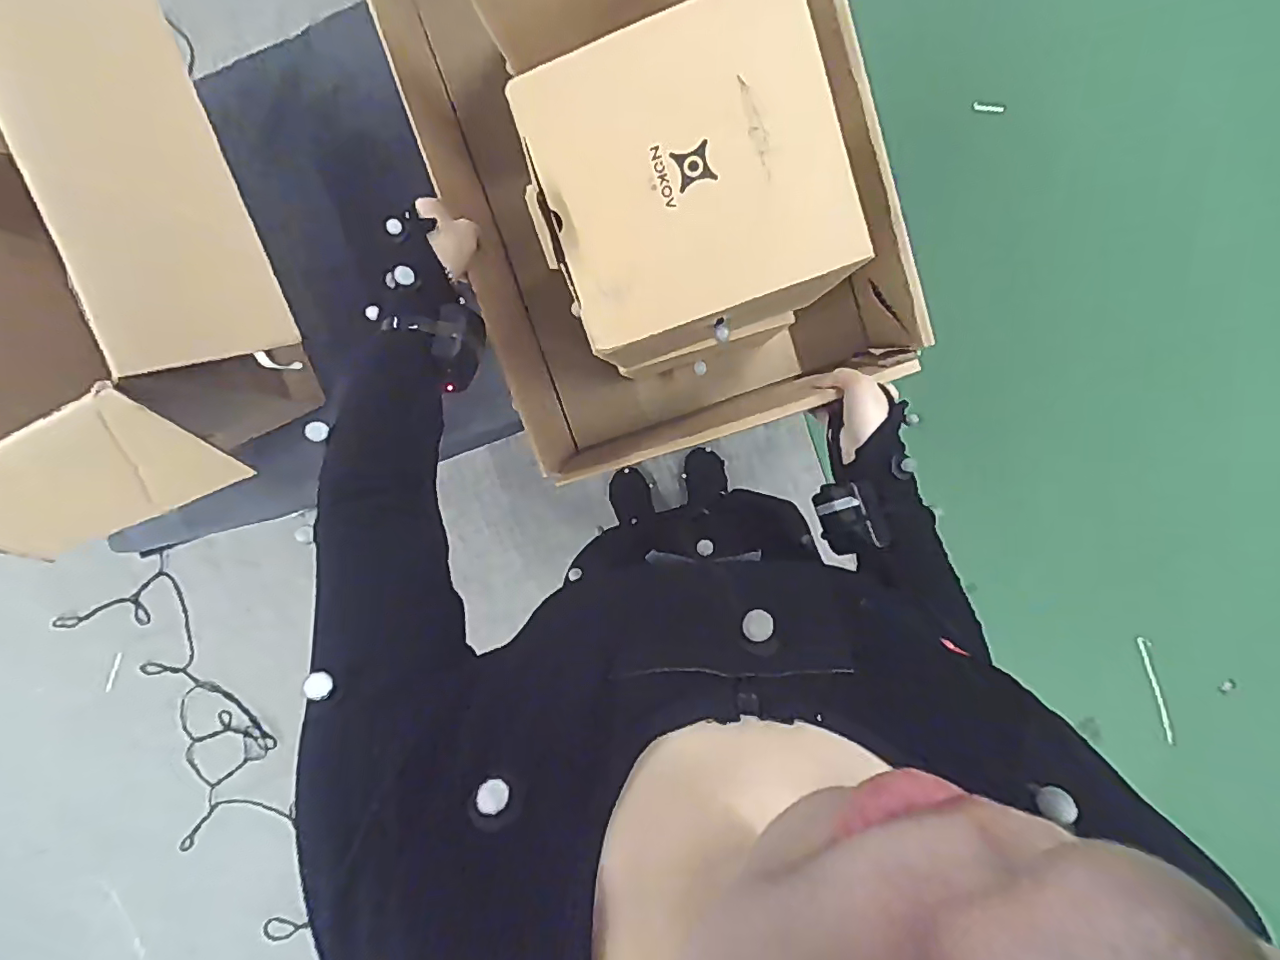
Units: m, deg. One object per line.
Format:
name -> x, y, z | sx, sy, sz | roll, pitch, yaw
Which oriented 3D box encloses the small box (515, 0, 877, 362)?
small box -> 0.040, -0.192, 0.396 | 0.179, 0.176, 0.168 | -20, 98, 8
